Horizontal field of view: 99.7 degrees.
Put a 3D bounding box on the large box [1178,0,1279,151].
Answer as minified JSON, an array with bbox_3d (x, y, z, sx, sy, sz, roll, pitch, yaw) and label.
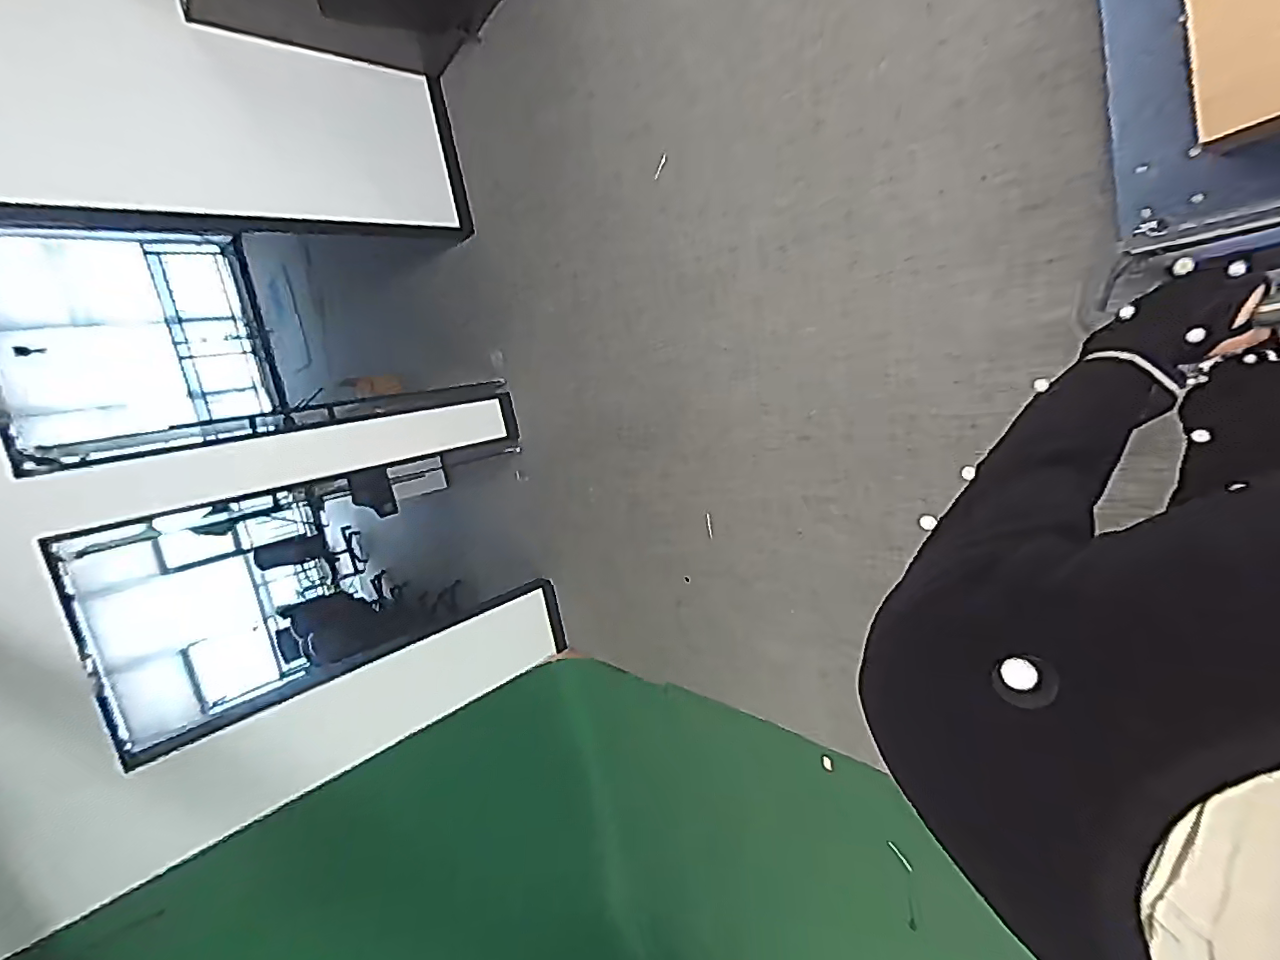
[{"bbox_3d":[0.938,-0.714,0.703,0.320,0.320,0.408,-5,106,51],"label":"large box"}]
